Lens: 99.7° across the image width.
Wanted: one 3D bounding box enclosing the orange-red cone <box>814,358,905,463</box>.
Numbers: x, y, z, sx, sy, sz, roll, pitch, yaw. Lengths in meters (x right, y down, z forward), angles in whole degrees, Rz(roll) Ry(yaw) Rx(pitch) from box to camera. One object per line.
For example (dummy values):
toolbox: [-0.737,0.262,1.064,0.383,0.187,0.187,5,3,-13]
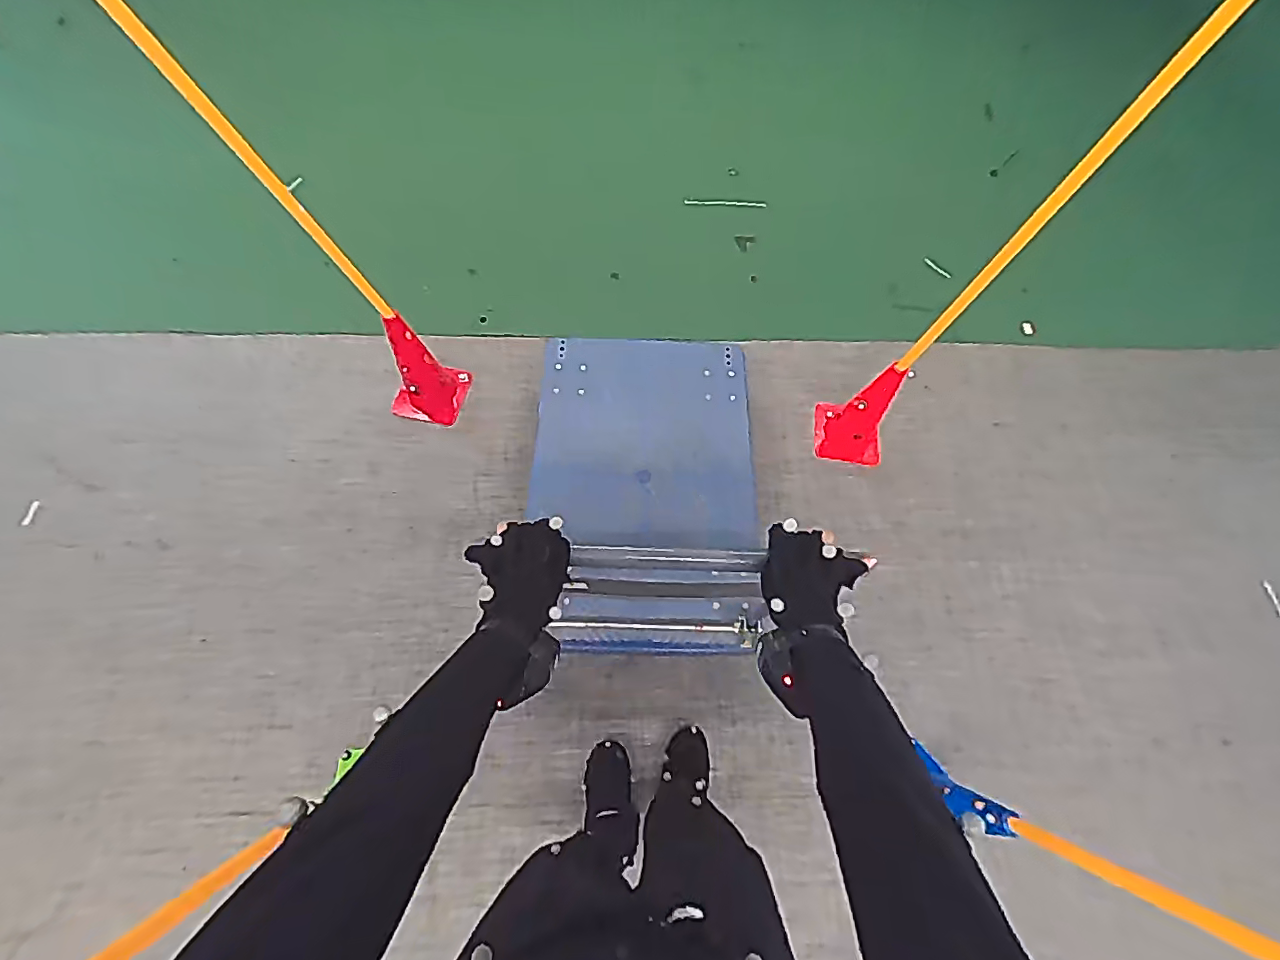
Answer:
orange-red cone: [0.644,-0.219,1.516,0.198,0.360,0.199,10,67,2]
